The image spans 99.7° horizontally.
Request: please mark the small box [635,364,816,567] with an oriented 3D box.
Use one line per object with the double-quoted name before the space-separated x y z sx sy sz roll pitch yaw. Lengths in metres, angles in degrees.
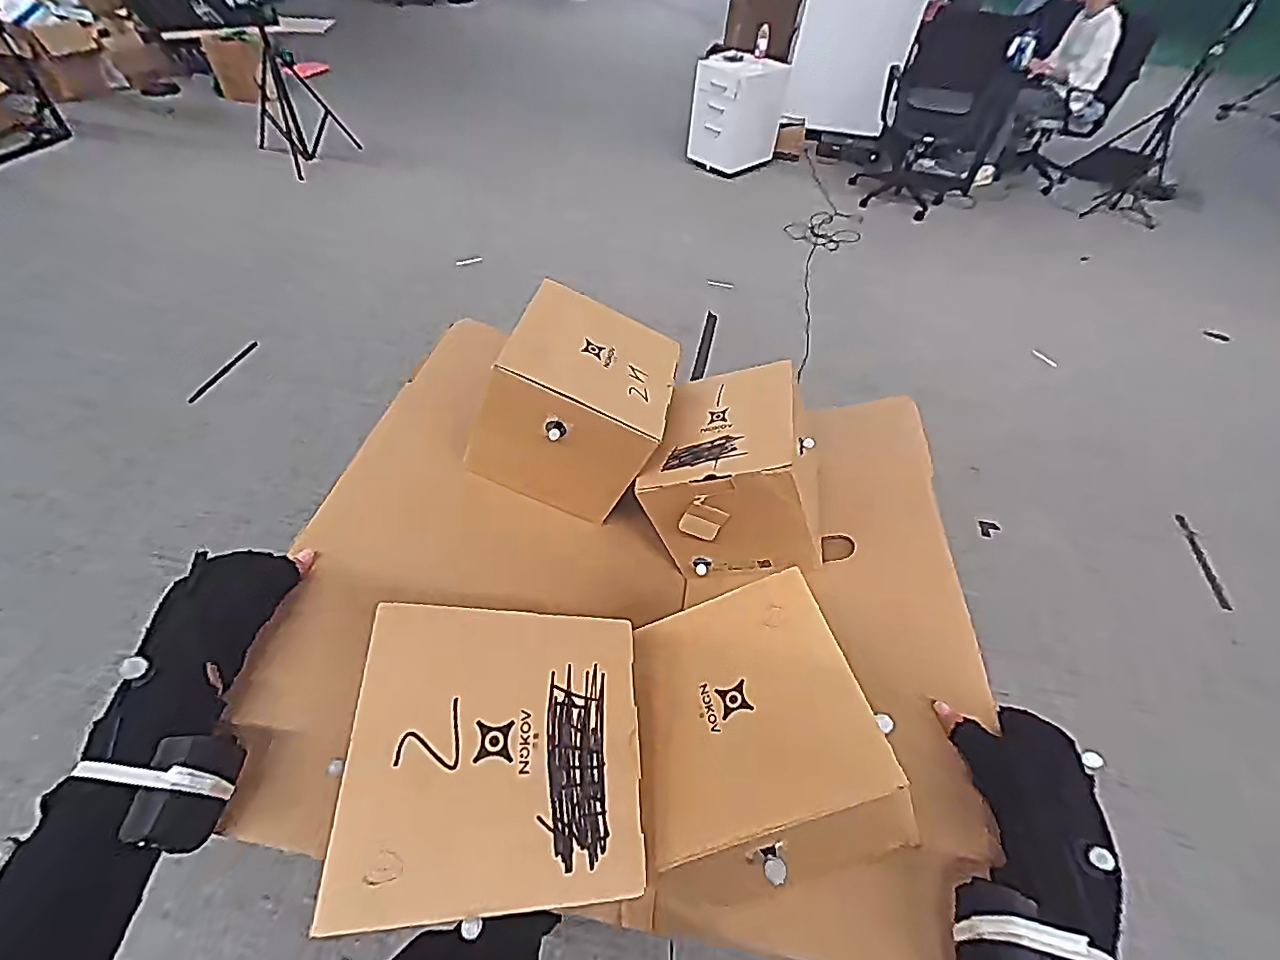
"small box" 0.113 -0.007 0.650 0.168 0.176 0.179 -8 43 24
